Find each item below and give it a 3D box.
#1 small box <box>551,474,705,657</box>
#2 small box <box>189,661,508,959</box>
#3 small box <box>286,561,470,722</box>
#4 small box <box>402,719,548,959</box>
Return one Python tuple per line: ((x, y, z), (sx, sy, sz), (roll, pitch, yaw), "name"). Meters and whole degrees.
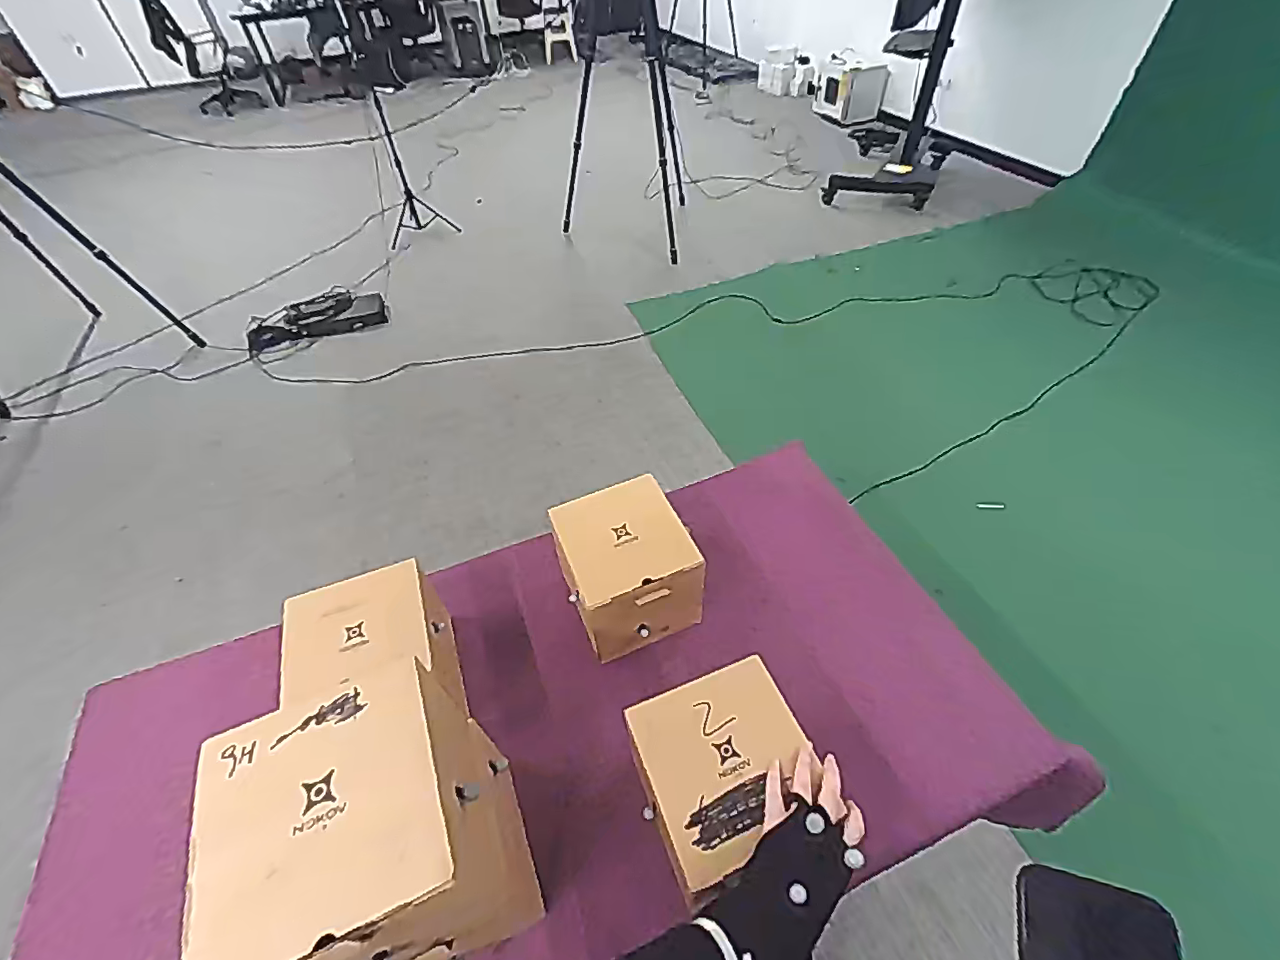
((-0.019, 0.126, 0.798), (0.168, 0.176, 0.179), (-20, 51, -14), "small box")
((-0.222, 0.289, 0.447), (0.168, 0.176, 0.179), (-21, 50, -14), "small box")
((-0.337, 0.244, 0.717), (0.168, 0.176, 0.179), (-18, 50, -13), "small box")
((-0.211, 0.395, 0.573), (0.168, 0.176, 0.179), (-21, 50, -13), "small box")
